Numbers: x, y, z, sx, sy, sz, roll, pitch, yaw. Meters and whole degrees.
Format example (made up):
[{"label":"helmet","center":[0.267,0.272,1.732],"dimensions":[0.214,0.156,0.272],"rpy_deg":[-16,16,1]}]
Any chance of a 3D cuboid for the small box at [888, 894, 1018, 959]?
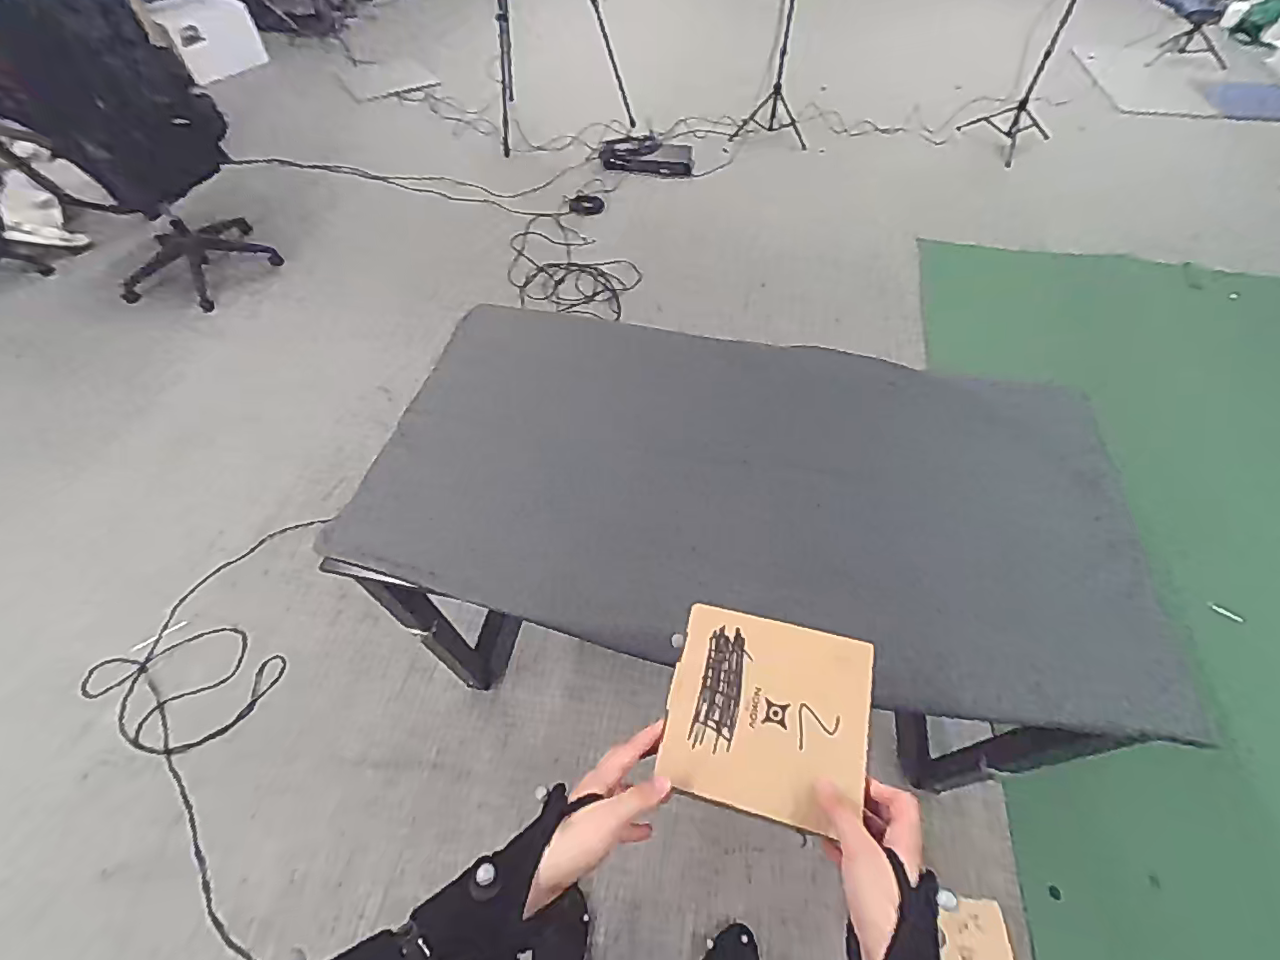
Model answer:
[{"label":"small box","center":[0.594,0.908,1.027],"dimensions":[0.168,0.176,0.179],"rpy_deg":[3,55,3]}]
